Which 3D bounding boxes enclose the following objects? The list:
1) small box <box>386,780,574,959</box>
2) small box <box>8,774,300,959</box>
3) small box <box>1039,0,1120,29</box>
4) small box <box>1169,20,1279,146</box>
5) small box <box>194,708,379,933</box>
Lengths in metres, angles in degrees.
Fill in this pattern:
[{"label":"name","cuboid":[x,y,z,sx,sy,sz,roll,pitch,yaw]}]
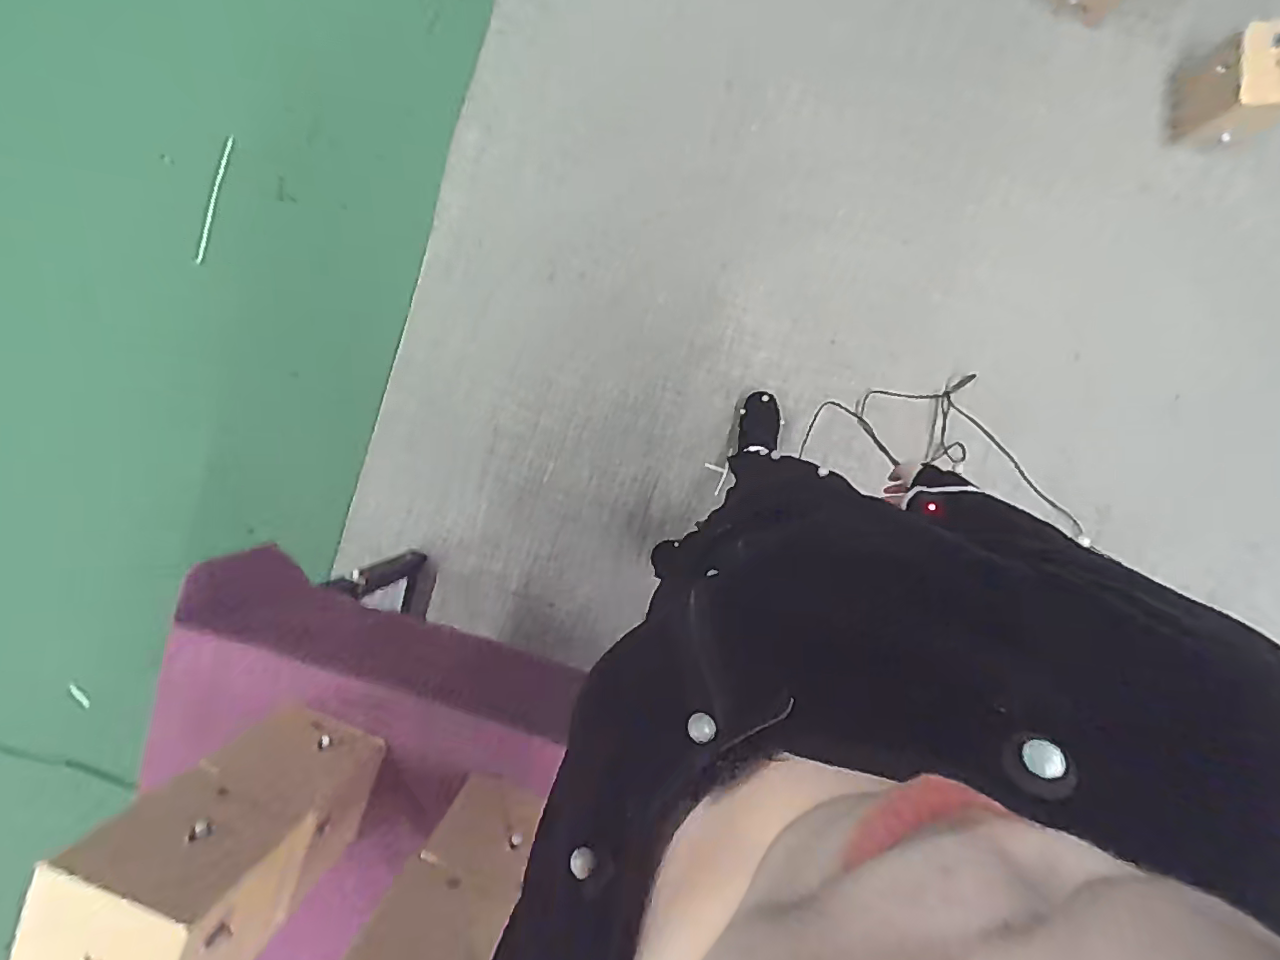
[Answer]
[{"label":"small box","cuboid":[-0.204,0.549,0.735,0.179,0.176,0.168,19,94,3]},{"label":"small box","cuboid":[-0.517,0.468,0.594,0.168,0.176,0.179,19,94,4]},{"label":"small box","cuboid":[1.096,-1.233,1.268,0.168,0.176,0.179,31,94,4]},{"label":"small box","cuboid":[1.390,-0.916,1.256,0.168,0.176,0.179,0,93,5]},{"label":"small box","cuboid":[-0.502,0.461,0.758,0.168,0.176,0.179,21,94,3]}]
